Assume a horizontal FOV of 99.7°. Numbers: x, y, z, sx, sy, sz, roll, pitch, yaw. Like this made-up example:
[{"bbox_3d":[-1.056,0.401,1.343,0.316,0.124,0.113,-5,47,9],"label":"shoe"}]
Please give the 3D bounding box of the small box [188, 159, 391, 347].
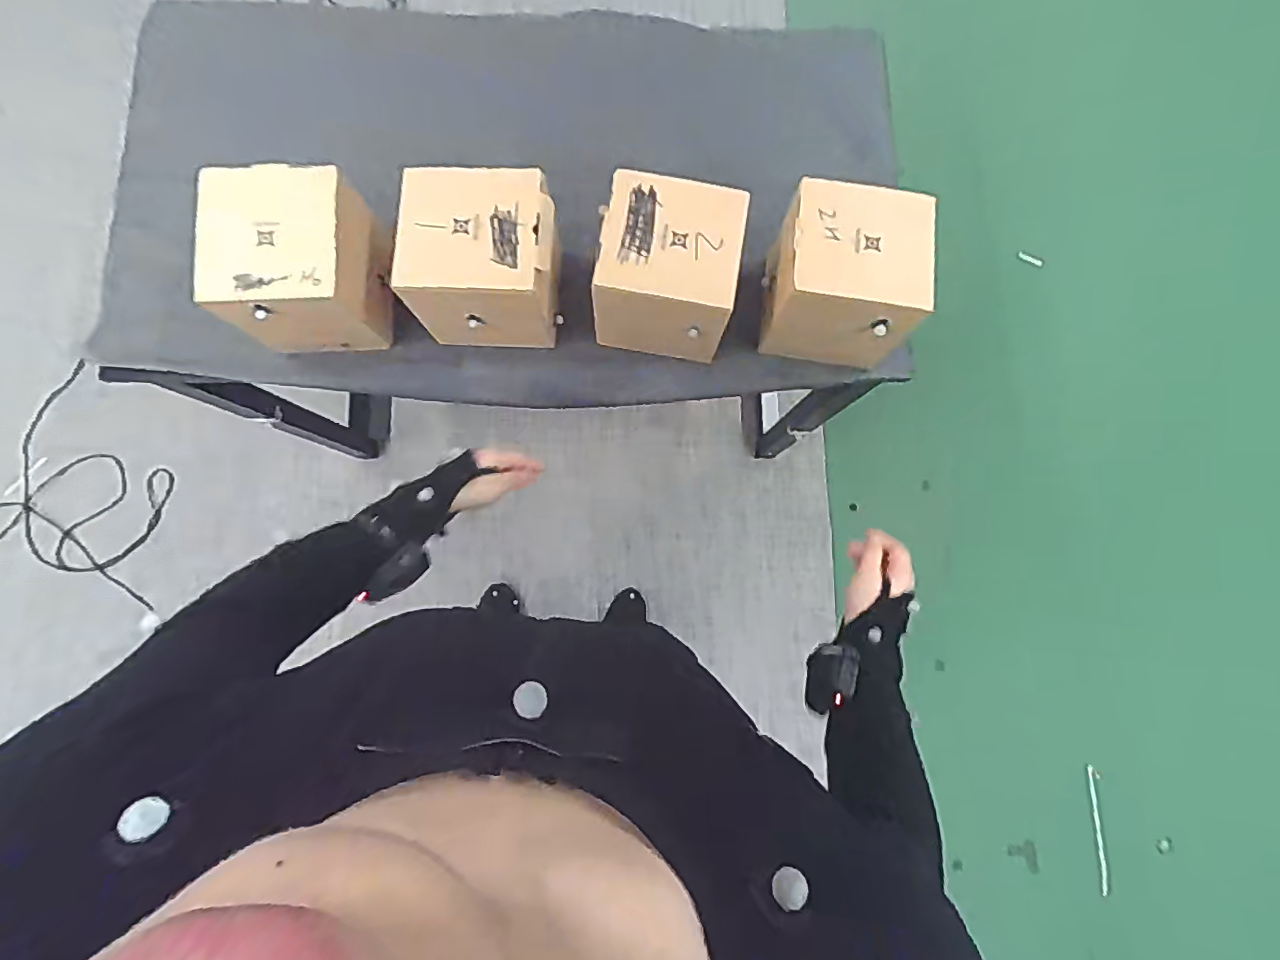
[{"bbox_3d":[-0.452,-0.295,0.726,0.168,0.176,0.179,-2,82,-1],"label":"small box"}]
